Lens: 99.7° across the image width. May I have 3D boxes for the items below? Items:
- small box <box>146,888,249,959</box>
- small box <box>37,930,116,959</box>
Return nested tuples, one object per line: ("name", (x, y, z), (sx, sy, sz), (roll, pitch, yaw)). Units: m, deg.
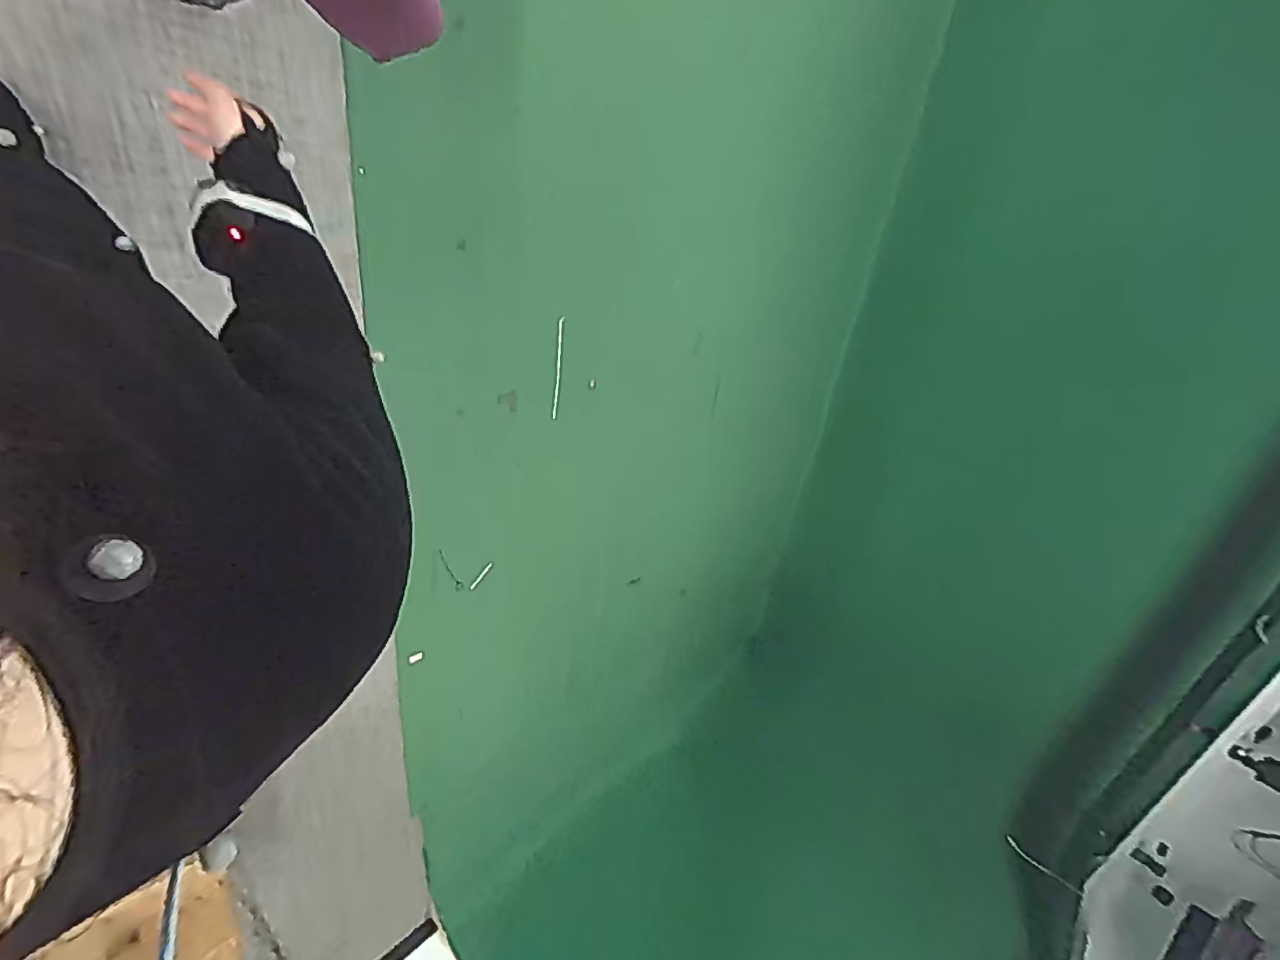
("small box", (-1.106, 1.182, 1.356), (0.168, 0.176, 0.179), (-16, 127, -45))
("small box", (-1.233, 1.128, 1.154), (0.168, 0.176, 0.179), (-13, 126, -46))
